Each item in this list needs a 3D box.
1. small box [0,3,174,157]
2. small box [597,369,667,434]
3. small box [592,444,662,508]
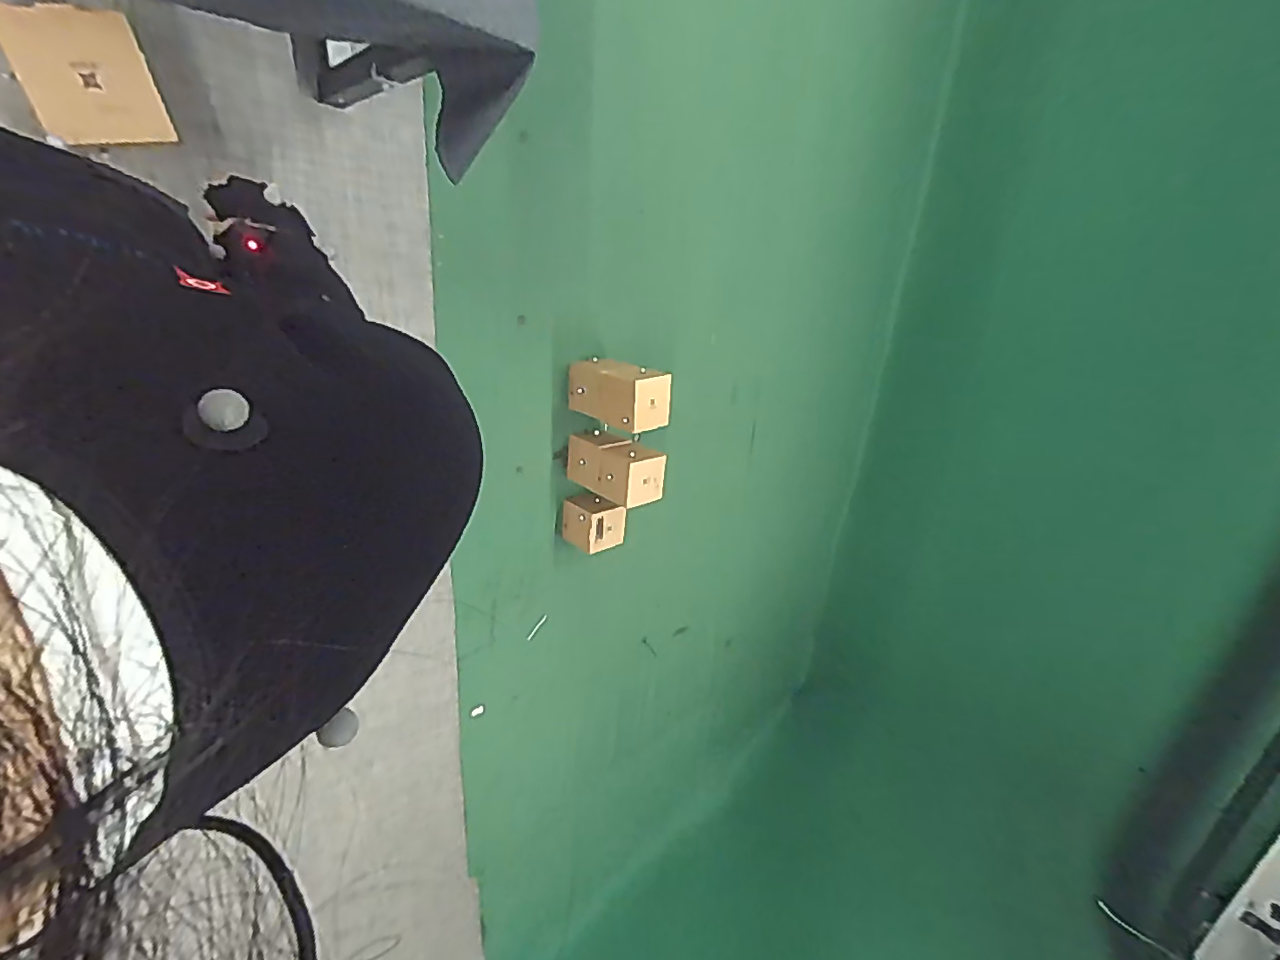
[{"bbox_3d":[-0.921,-0.646,0.892,0.168,0.176,0.179,-30,127,-36],"label":"small box"},{"bbox_3d":[-0.031,-0.267,1.797,0.168,0.176,0.179,-20,122,-41],"label":"small box"},{"bbox_3d":[-0.050,-0.019,1.894,0.179,0.176,0.168,-15,120,-43],"label":"small box"}]
